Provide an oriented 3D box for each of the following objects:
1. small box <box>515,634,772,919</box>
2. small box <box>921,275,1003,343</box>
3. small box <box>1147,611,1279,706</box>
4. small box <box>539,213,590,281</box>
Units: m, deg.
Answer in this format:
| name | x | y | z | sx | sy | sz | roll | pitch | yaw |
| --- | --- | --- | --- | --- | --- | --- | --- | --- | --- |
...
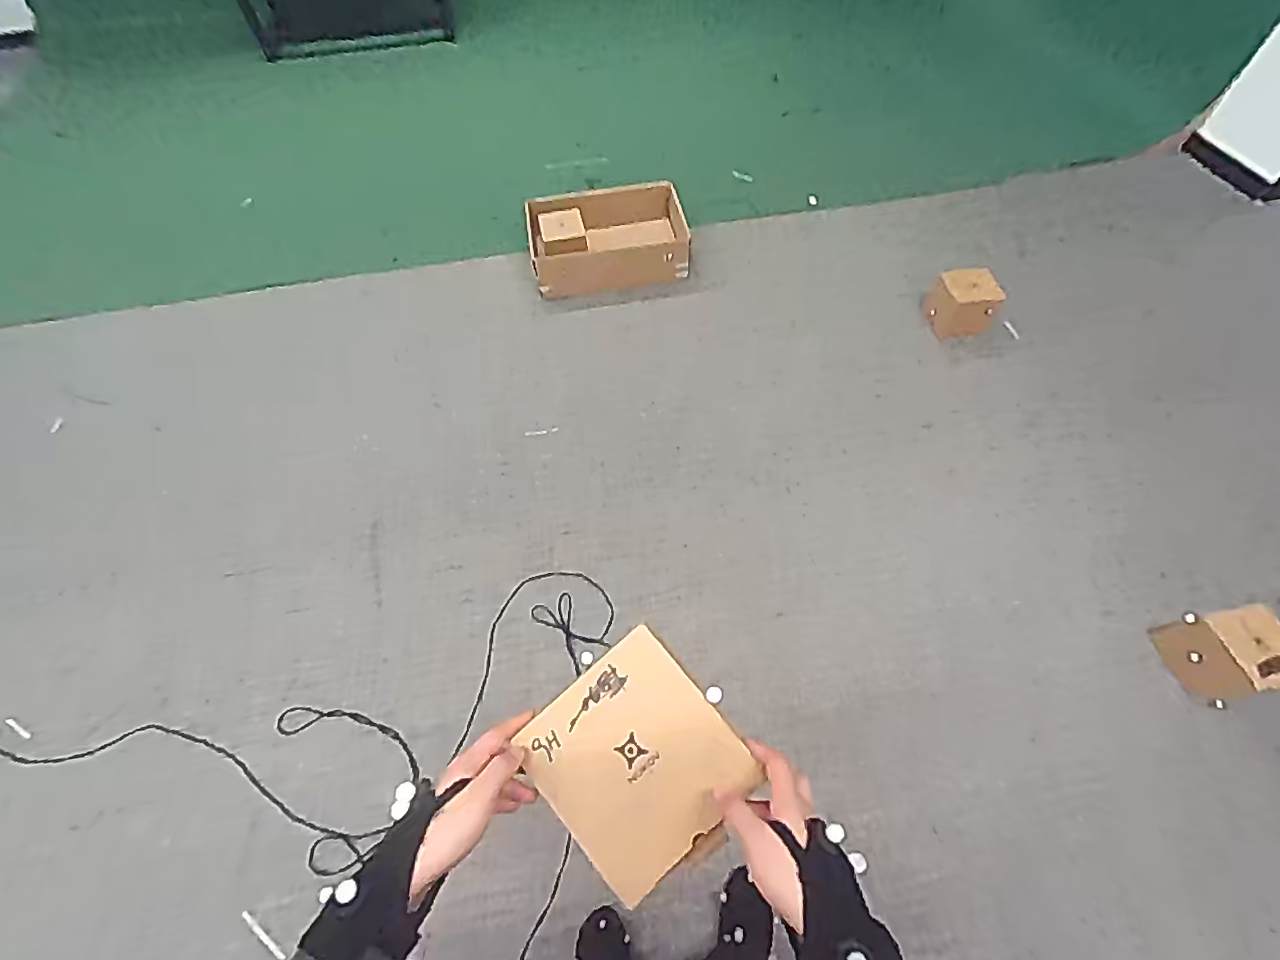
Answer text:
| name | x | y | z | sx | sy | sz | roll | pitch | yaw |
| --- | --- | --- | --- | --- | --- | --- | --- | --- | --- |
| small box | 0.004 | 0.277 | 0.560 | 0.168 | 0.176 | 0.179 | -40 | 79 | -8 |
| small box | 1.164 | -0.618 | 1.968 | 0.179 | 0.176 | 0.168 | -5 | 57 | -1 |
| small box | 1.408 | 0.437 | 1.303 | 0.168 | 0.176 | 0.179 | -9 | 57 | -3 |
| small box | -0.300 | -0.925 | 2.151 | 0.168 | 0.176 | 0.179 | -12 | 60 | -5 |
